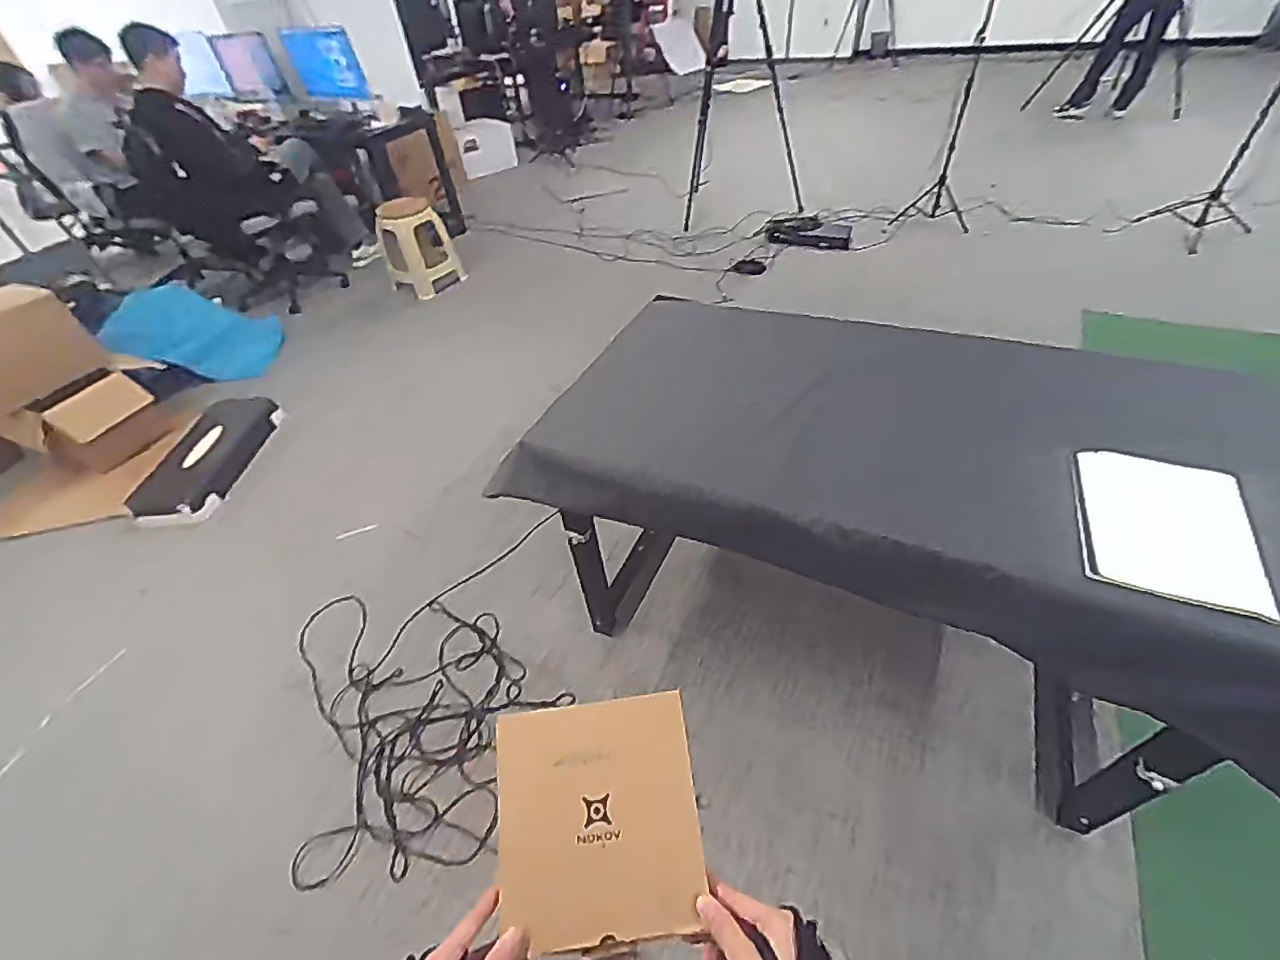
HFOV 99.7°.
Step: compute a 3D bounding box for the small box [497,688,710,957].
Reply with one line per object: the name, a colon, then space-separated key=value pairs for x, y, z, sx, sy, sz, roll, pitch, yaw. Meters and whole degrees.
small box: x=-0.033 y=0.305 z=0.516 sx=0.168 sy=0.176 sz=0.179 roll=-7 pitch=64 yaw=-3
